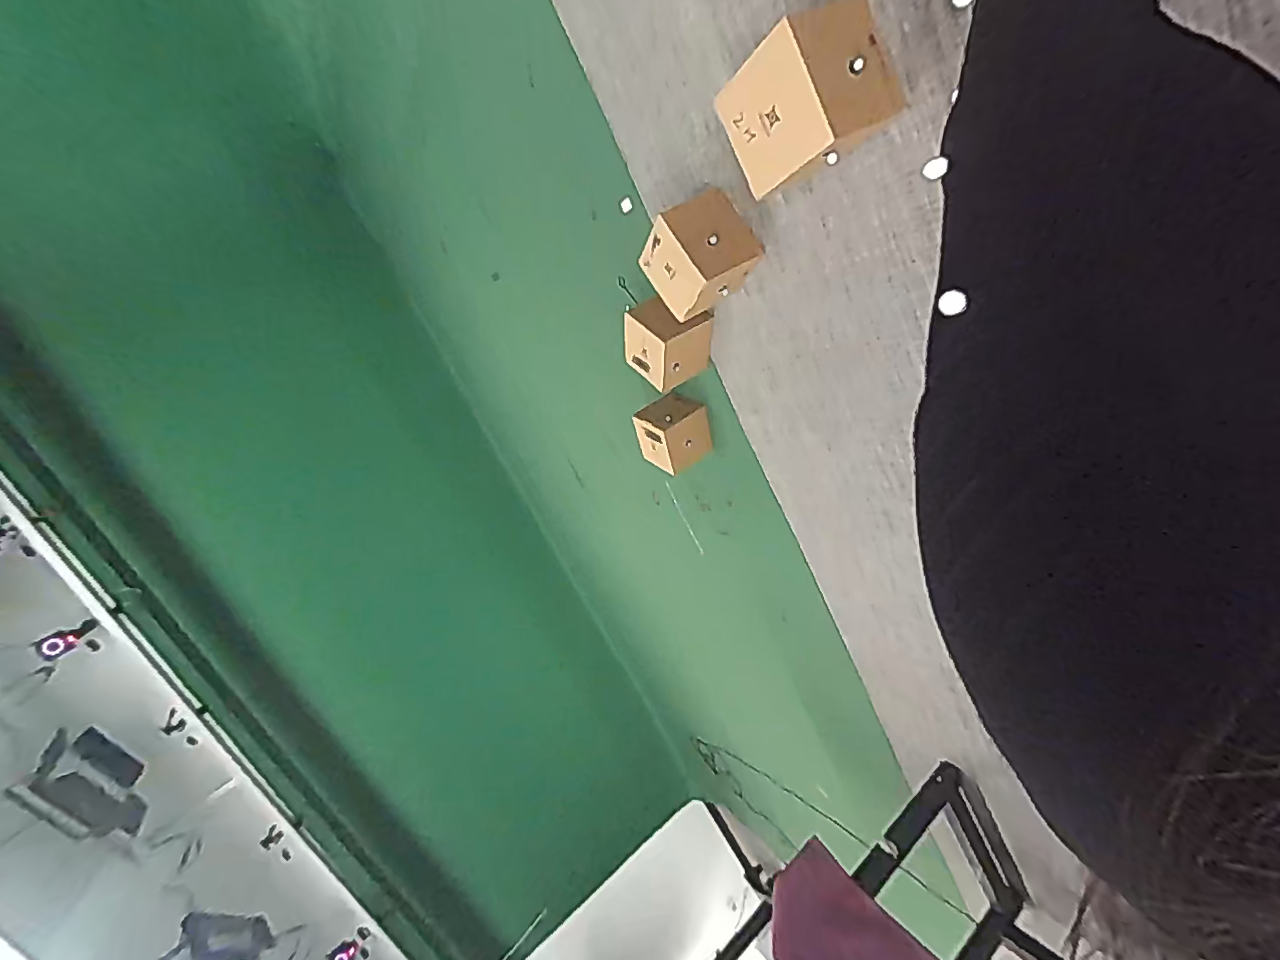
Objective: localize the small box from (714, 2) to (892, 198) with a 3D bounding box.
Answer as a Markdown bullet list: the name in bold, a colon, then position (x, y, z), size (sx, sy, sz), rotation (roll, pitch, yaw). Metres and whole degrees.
- **small box**: position (0.253, -0.573, 0.824), size (0.168, 0.176, 0.179), rotation (62, 157, -12)

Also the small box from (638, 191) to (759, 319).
- **small box**: position (0.129, -0.497, 1.196), size (0.179, 0.176, 0.168), rotation (55, 159, 2)

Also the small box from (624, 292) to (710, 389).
- **small box**: position (0.073, -0.387, 1.468), size (0.168, 0.176, 0.179), rotation (46, 155, 27)
